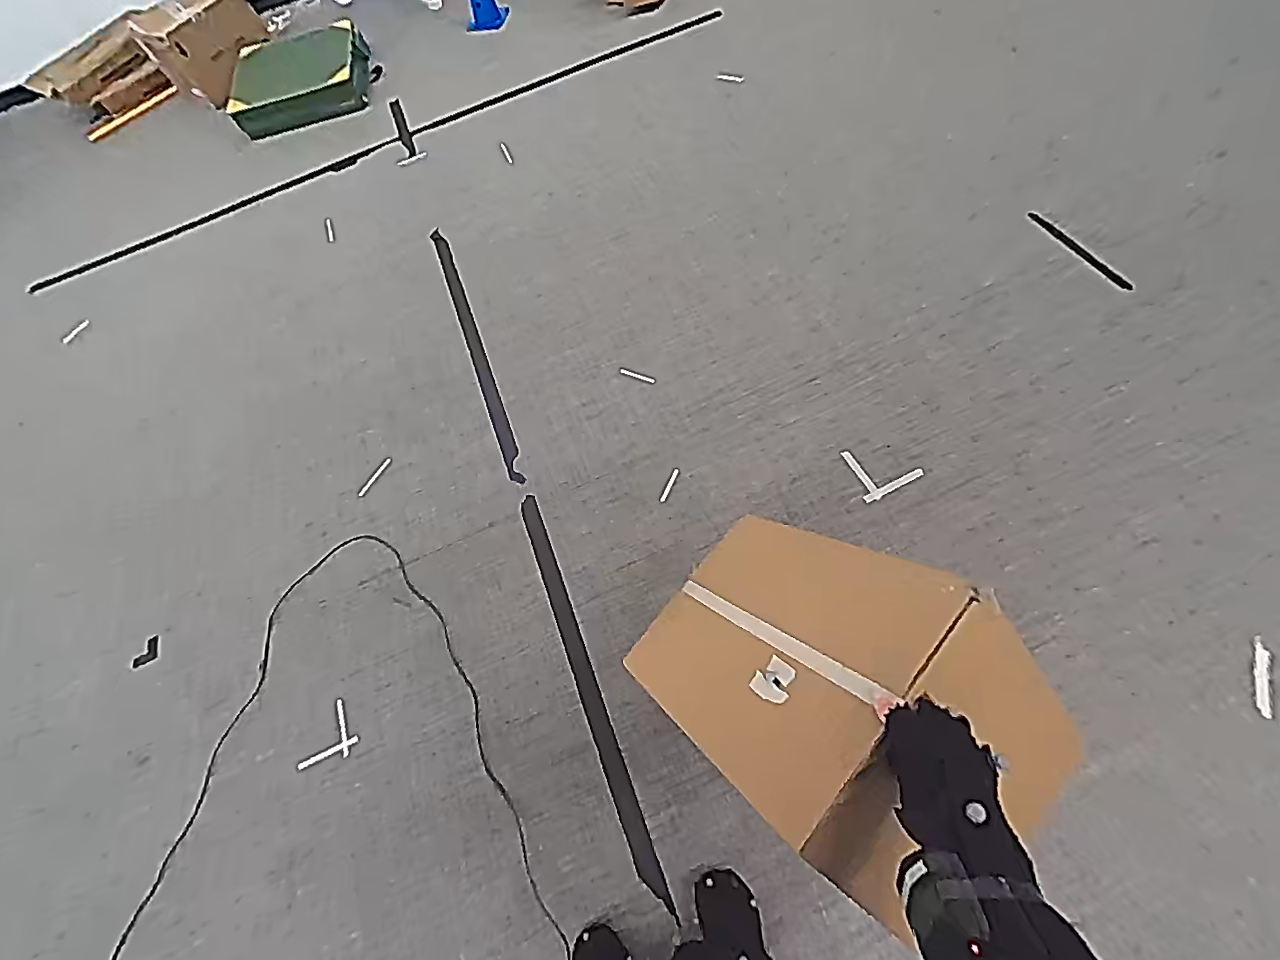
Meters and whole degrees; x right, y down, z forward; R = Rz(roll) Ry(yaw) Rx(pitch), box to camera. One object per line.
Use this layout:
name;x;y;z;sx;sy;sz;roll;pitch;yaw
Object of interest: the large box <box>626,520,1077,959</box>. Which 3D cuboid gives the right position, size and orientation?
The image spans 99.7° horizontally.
large box;0.253;0.296;0.734;0.320;0.320;0.408;-49;24;-12
